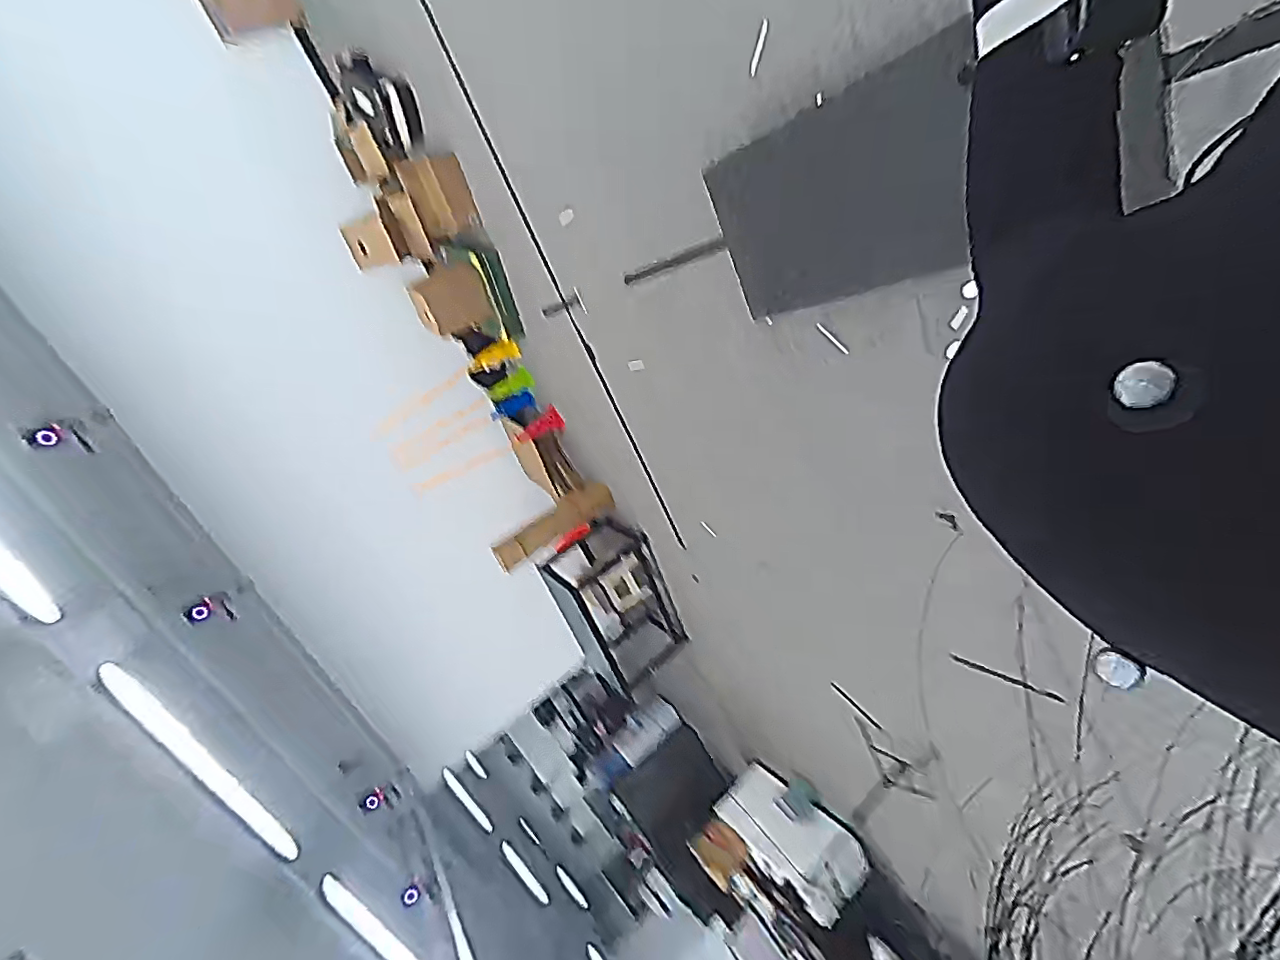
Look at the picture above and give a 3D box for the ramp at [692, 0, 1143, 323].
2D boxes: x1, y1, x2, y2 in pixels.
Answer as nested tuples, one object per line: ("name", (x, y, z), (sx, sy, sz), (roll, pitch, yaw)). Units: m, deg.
("ramp", (0.588, -0.741, 1.374), (0.991, 0.206, 0.509), (7, 127, 57))
